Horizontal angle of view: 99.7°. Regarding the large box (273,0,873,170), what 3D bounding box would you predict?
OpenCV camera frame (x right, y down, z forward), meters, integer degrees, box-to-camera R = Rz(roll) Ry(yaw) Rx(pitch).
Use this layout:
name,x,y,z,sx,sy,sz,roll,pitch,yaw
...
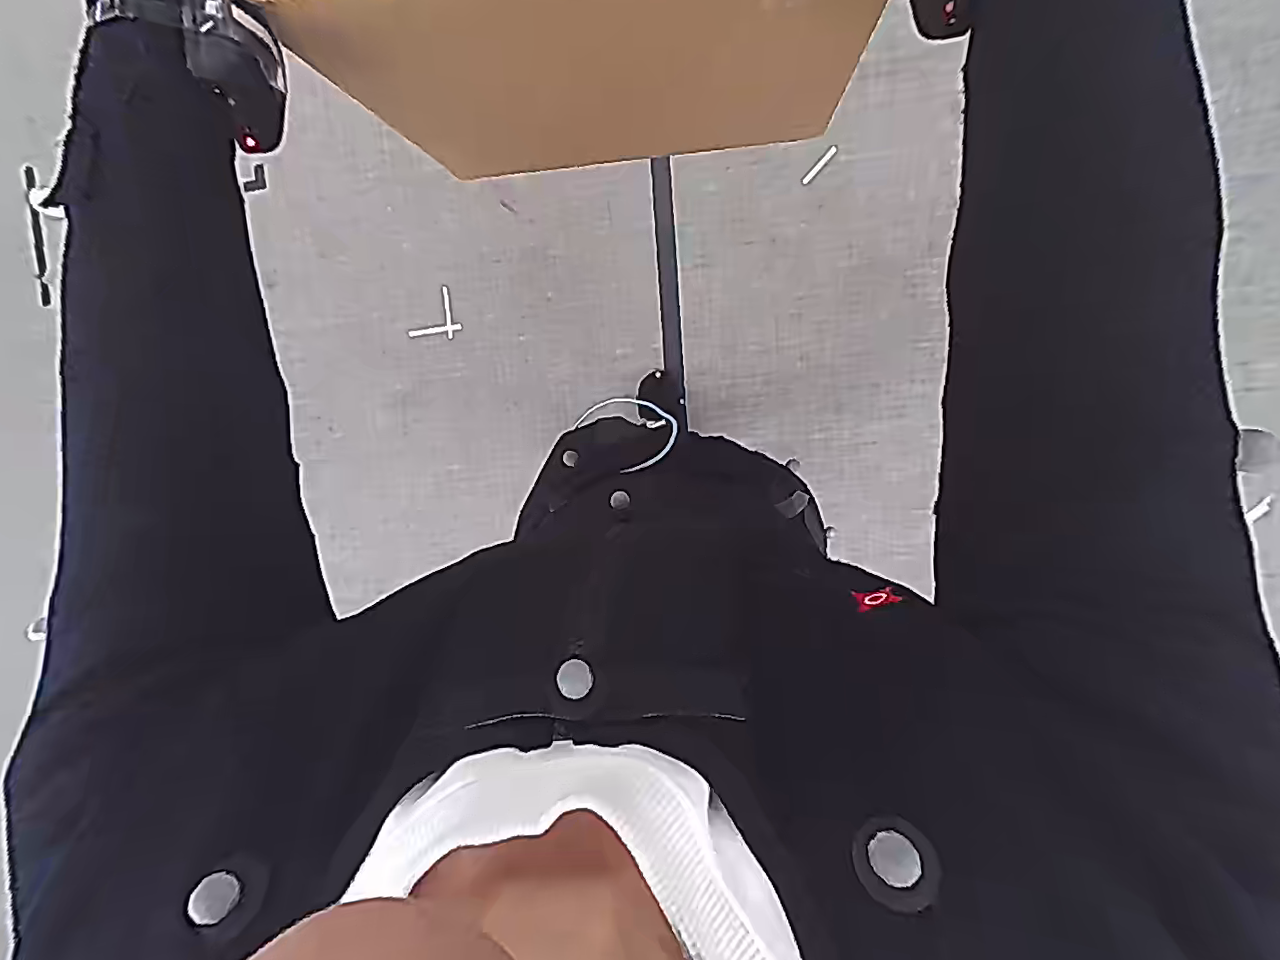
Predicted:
name,x,y,z,sx,sy,sz,roll,pitch,yaw
large box,-0.036,-0.483,0.420,0.408,0.320,0.320,-3,102,7
